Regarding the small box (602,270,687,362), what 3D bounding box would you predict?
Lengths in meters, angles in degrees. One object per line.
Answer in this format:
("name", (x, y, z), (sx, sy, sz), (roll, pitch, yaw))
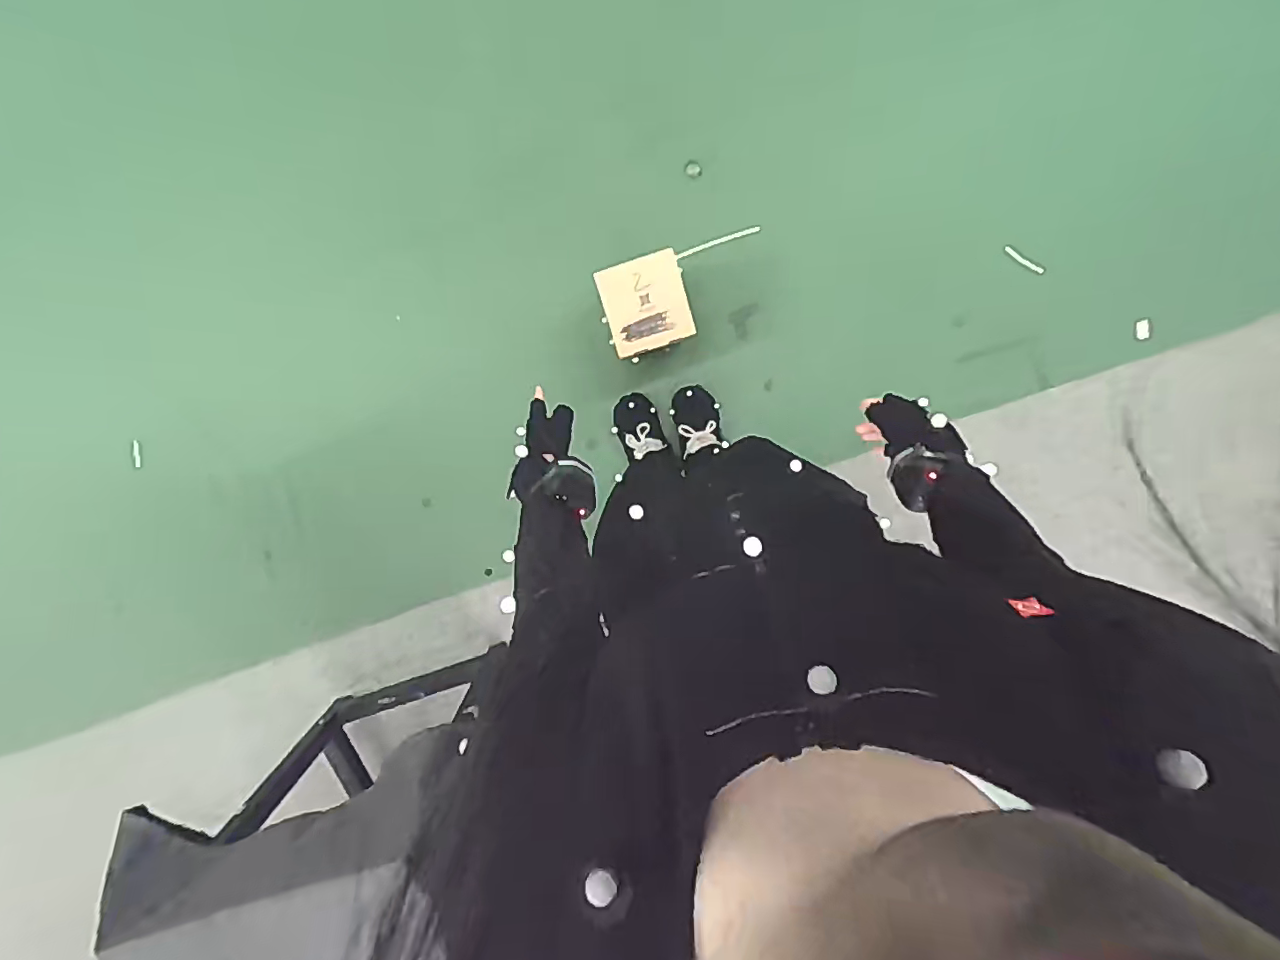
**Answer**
("small box", (0.013, -0.396, 1.323), (0.168, 0.176, 0.179), (-15, 102, 4))
